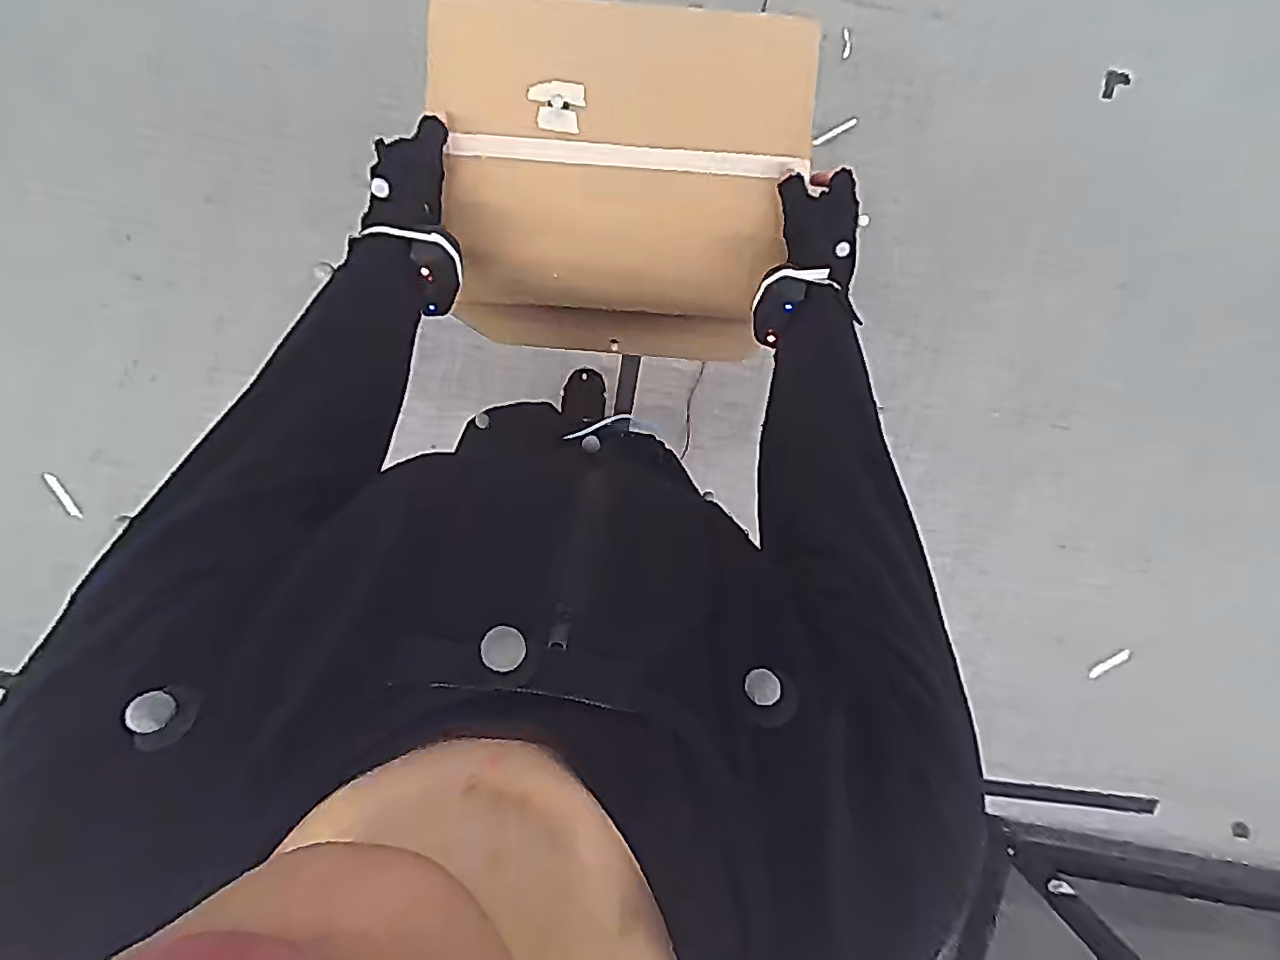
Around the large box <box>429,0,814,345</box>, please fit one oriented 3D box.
[{"bbox_3d":[-0.022,-0.364,0.722,0.408,0.320,0.320,4,94,-1],"label":"large box"}]
